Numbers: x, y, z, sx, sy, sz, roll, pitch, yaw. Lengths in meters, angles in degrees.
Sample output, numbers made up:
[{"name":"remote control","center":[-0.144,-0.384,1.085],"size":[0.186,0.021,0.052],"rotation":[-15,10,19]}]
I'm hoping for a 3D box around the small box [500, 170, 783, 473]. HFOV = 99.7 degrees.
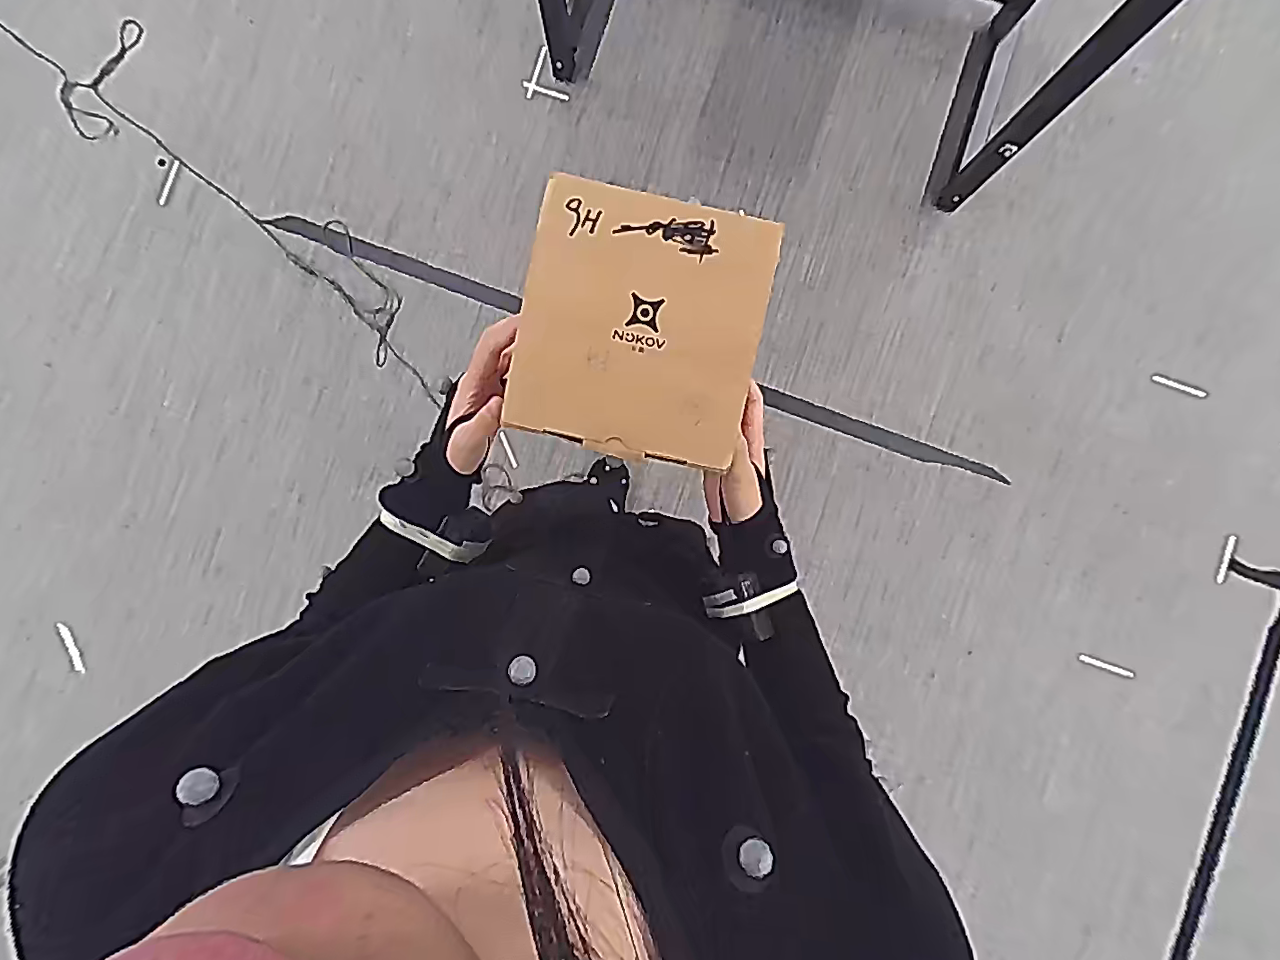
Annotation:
[{"name":"small box","center":[-0.001,-0.112,0.448],"size":[0.168,0.176,0.179],"rotation":[12,94,-2]}]
